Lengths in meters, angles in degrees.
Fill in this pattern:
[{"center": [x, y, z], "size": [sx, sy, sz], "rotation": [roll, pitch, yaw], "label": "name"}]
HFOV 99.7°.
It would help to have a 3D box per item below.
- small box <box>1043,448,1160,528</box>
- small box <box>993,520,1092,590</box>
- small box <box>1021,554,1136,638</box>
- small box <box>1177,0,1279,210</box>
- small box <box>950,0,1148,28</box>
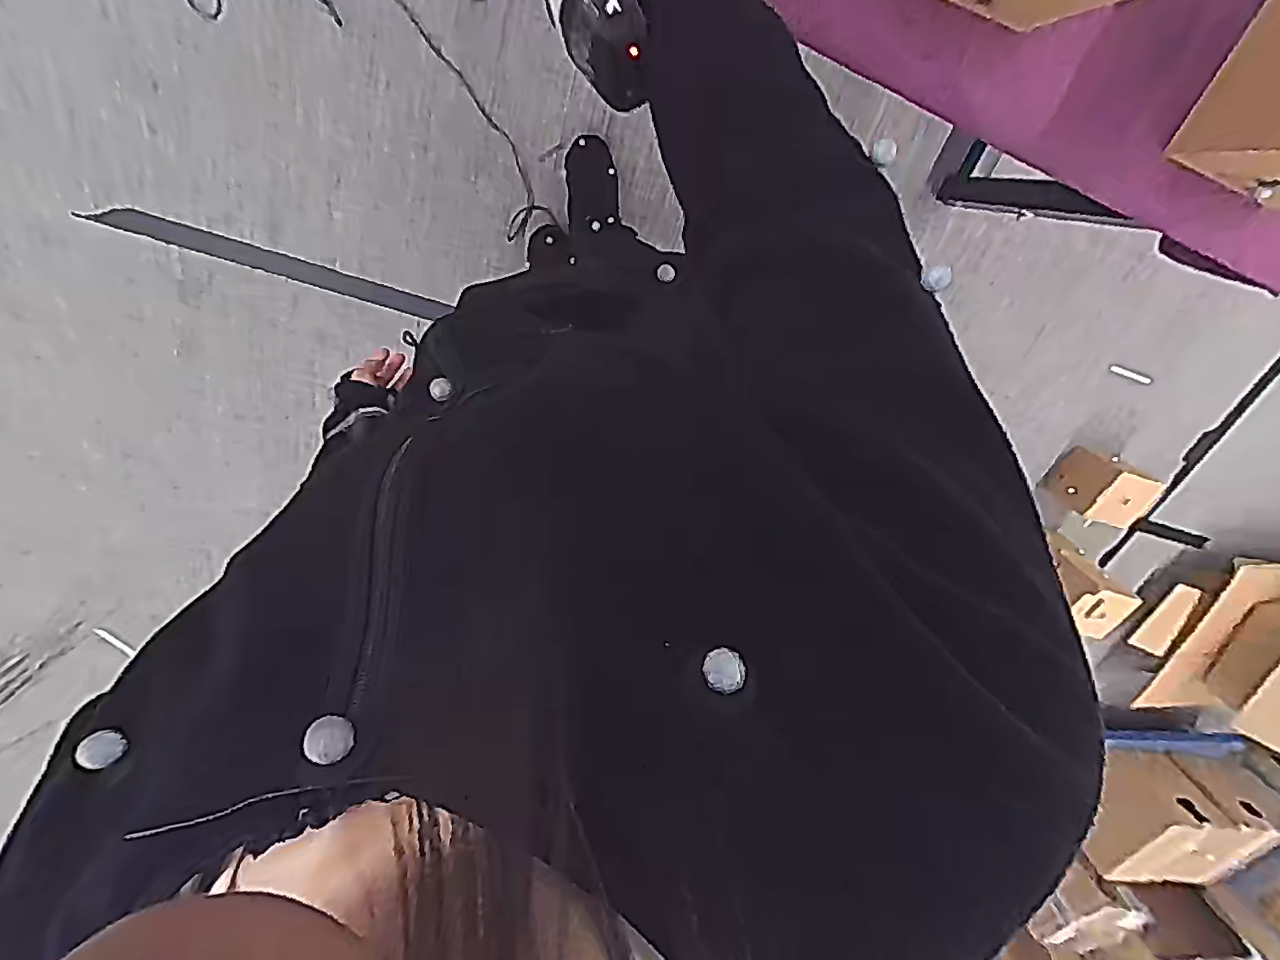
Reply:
[{"center": [1.399, 0.020, 1.653], "size": [0.179, 0.176, 0.168], "rotation": [12, 120, -15], "label": "small box"}, {"center": [1.317, 0.264, 1.790], "size": [0.168, 0.176, 0.179], "rotation": [18, 118, -16], "label": "small box"}, {"center": [1.326, 0.349, 1.649], "size": [0.179, 0.176, 0.168], "rotation": [16, 118, -17], "label": "small box"}, {"center": [0.666, -0.354, 0.483], "size": [0.168, 0.176, 0.179], "rotation": [14, 118, -13], "label": "small box"}, {"center": [0.314, -0.462, 0.378], "size": [0.168, 0.176, 0.179], "rotation": [10, 120, -12], "label": "small box"}]
